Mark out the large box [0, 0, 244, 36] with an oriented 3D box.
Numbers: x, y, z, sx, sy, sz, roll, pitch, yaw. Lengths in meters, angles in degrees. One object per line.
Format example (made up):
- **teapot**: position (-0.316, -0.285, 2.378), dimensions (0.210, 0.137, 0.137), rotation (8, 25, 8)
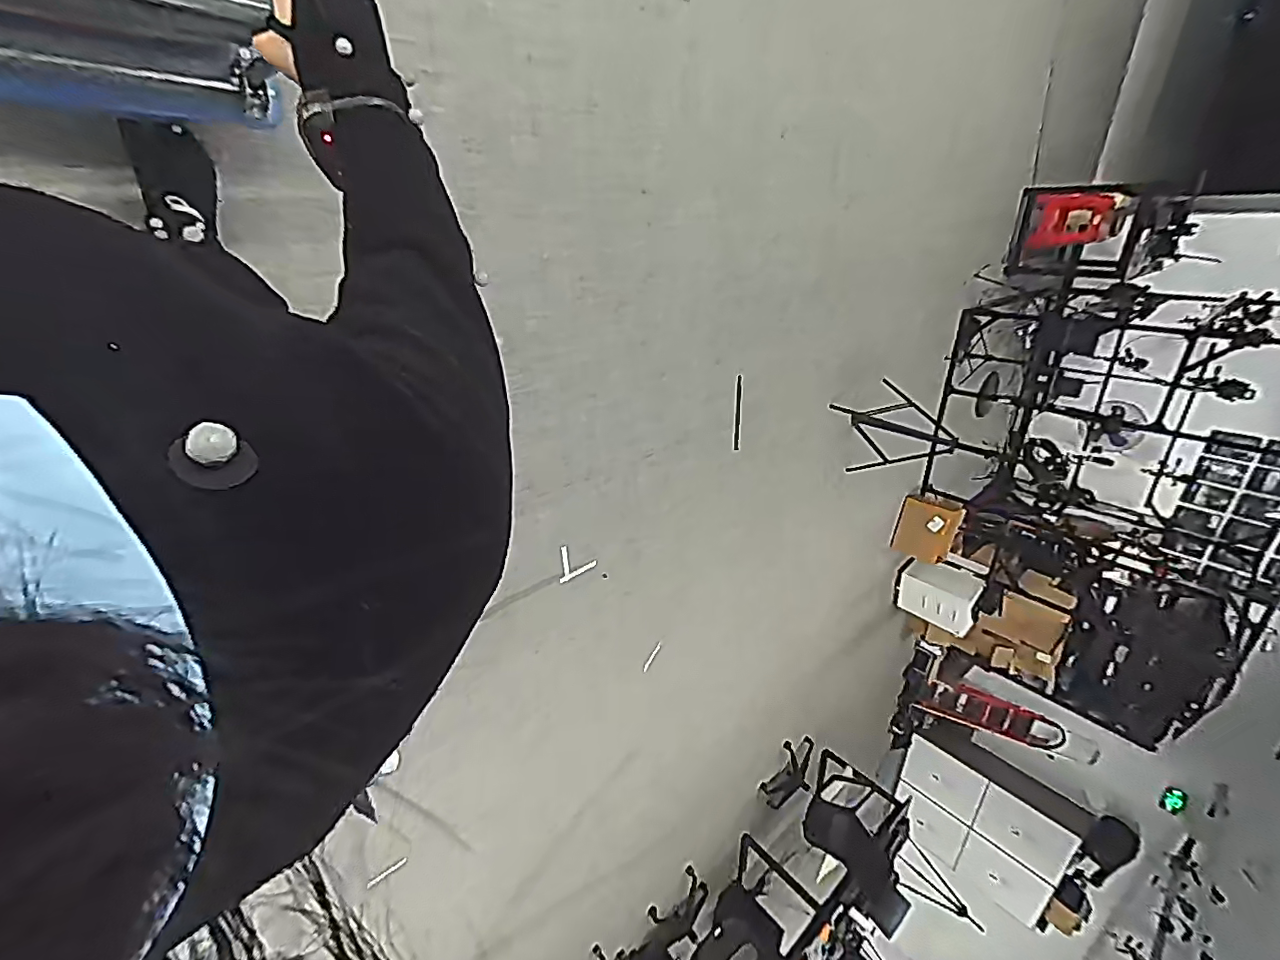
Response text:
- **large box**: position (-0.759, -0.778, 0.636), dimensions (0.408, 0.320, 0.320), rotation (-24, 124, -37)
